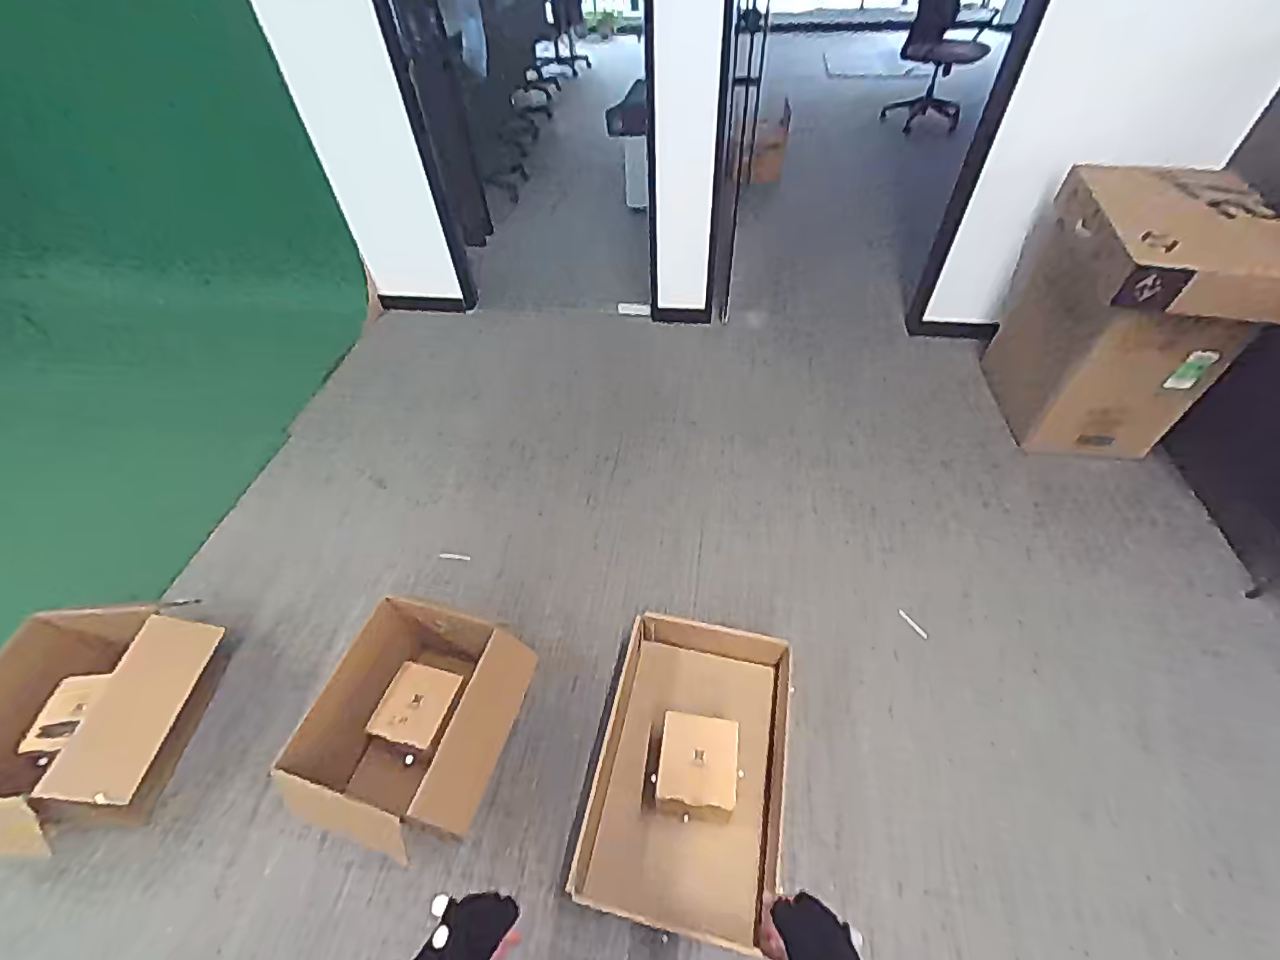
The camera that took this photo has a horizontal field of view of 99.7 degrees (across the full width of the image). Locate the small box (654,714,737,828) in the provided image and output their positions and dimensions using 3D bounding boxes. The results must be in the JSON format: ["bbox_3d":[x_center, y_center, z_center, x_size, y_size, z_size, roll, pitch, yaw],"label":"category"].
[{"bbox_3d":[0.122,0.653,1.210,0.168,0.176,0.179,6,49,7],"label":"small box"}]
